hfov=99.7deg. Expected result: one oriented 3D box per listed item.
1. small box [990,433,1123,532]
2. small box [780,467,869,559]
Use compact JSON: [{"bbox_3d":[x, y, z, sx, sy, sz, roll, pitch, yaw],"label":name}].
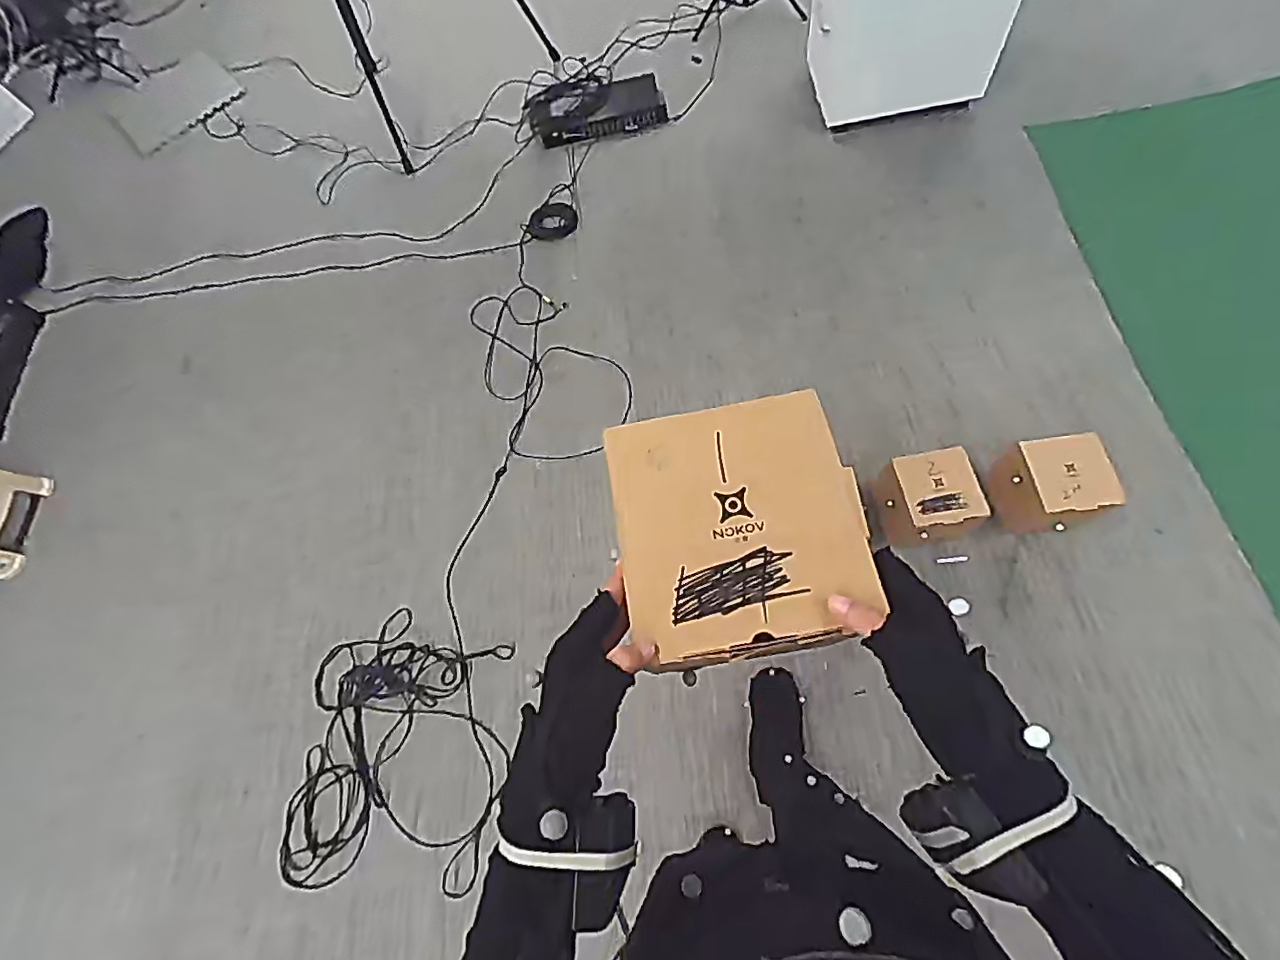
[{"bbox_3d":[0.969,0.010,1.278,0.168,0.176,0.179,-8,68,7],"label":"small box"},{"bbox_3d":[0.447,0.086,1.340,0.168,0.176,0.179,-8,67,7],"label":"small box"}]
